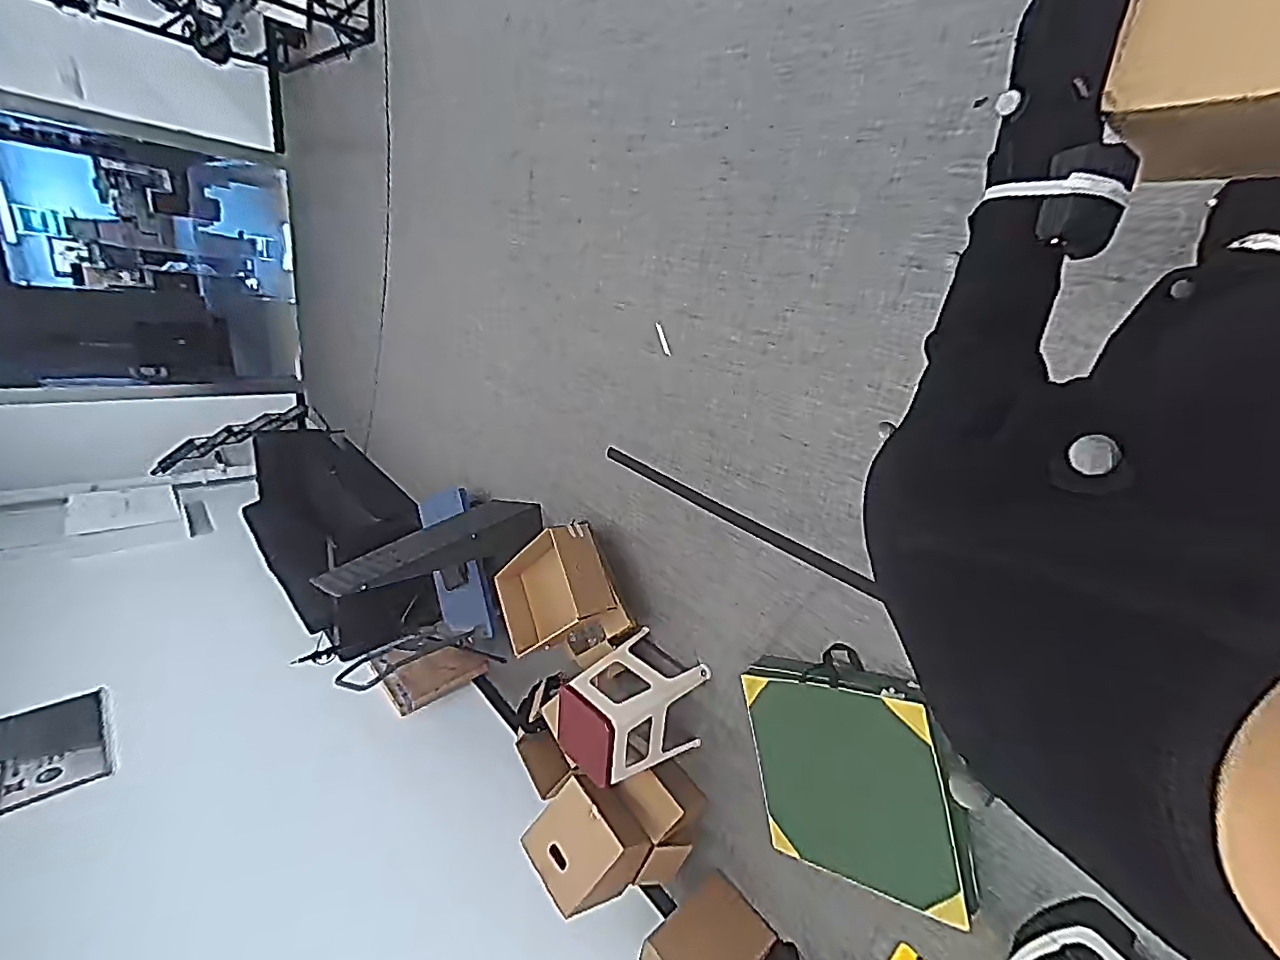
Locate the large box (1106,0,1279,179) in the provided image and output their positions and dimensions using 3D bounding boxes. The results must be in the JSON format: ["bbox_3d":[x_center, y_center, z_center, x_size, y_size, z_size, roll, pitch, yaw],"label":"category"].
[{"bbox_3d":[0.586,-0.388,0.313,0.408,0.320,0.320,22,118,41],"label":"large box"}]
